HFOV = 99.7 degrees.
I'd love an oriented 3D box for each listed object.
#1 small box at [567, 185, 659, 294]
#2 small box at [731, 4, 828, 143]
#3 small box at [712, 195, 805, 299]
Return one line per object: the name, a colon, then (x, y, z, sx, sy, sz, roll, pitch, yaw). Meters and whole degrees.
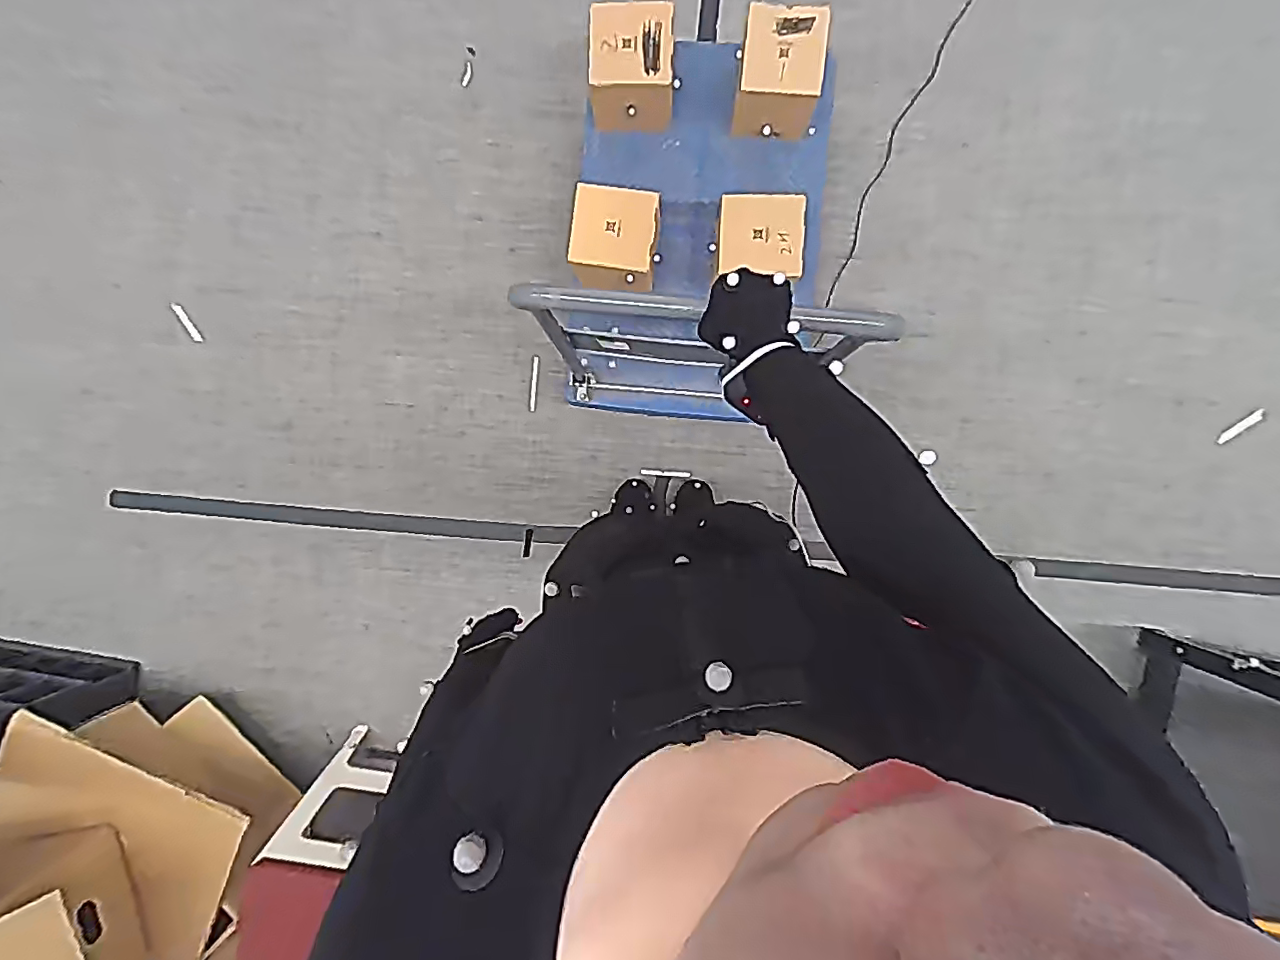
small box: (-0.055, -0.530, 1.214, 0.179, 0.176, 0.168, 8, 92, 1)
small box: (0.296, -0.879, 1.181, 0.168, 0.176, 0.179, 6, 94, 3)
small box: (0.254, -0.508, 1.199, 0.179, 0.176, 0.168, 3, 93, 3)
